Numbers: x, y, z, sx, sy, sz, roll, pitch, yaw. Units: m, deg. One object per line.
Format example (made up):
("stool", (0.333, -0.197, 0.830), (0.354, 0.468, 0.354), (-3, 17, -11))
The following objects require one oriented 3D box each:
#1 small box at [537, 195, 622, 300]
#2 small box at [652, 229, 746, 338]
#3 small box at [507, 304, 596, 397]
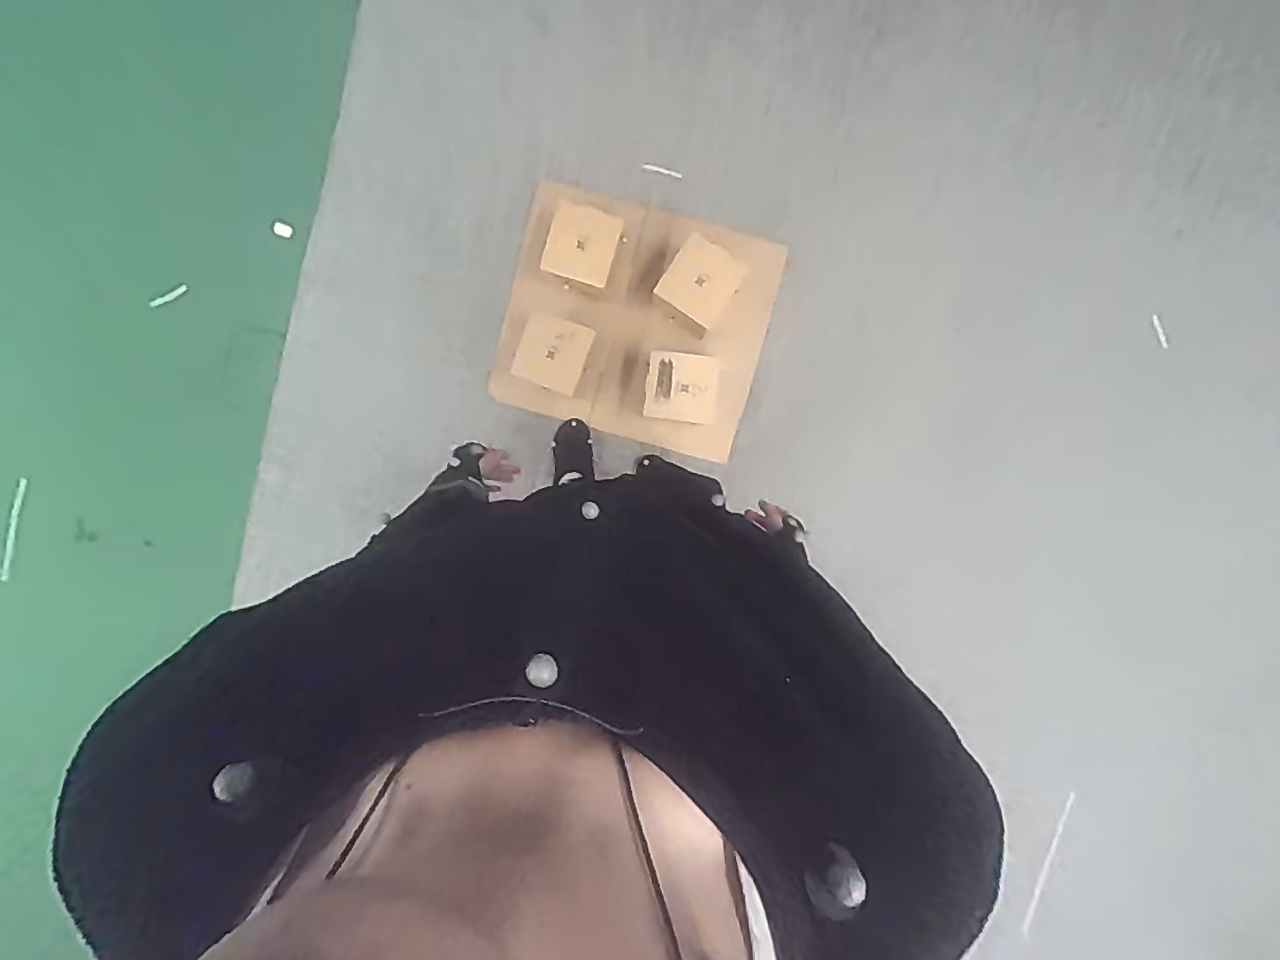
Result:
("small box", (-0.145, -0.576, 1.366), (0.168, 0.176, 0.179), (17, 94, -2))
("small box", (0.140, -0.487, 1.369), (0.168, 0.176, 0.179), (35, 94, -3))
("small box", (-0.219, -0.322, 1.387), (0.168, 0.176, 0.179), (21, 95, -2))
